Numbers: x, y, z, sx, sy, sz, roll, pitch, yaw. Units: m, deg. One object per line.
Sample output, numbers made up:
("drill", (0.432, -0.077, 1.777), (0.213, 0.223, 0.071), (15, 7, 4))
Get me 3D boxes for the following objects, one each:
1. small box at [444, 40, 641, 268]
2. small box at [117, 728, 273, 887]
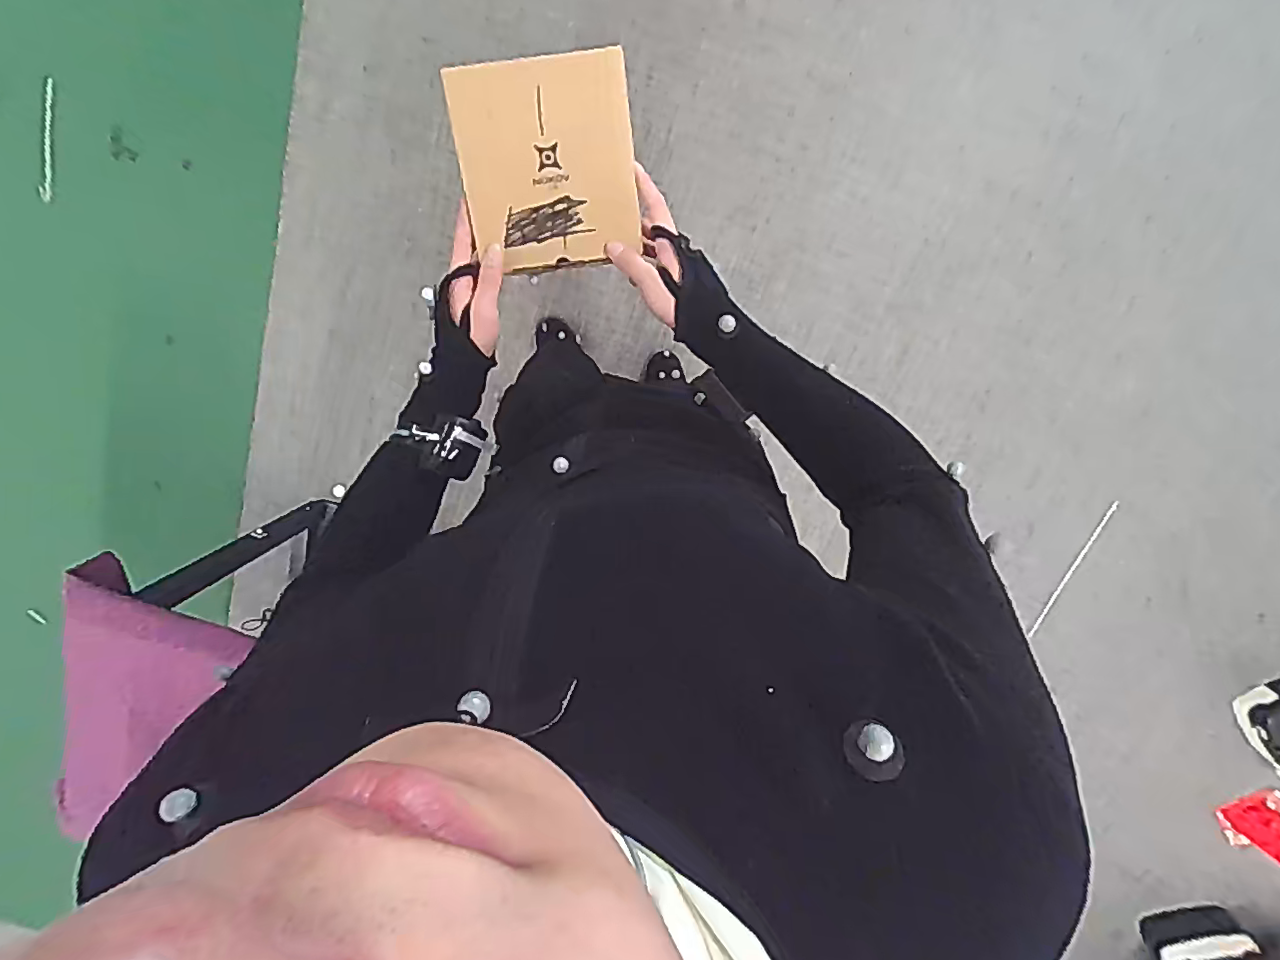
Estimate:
("small box", (-0.088, -0.328, 0.581), (0.168, 0.176, 0.179), (-6, 110, 0))
("small box", (-0.858, 0.631, 1.055), (0.168, 0.176, 0.179), (21, 107, -3))
